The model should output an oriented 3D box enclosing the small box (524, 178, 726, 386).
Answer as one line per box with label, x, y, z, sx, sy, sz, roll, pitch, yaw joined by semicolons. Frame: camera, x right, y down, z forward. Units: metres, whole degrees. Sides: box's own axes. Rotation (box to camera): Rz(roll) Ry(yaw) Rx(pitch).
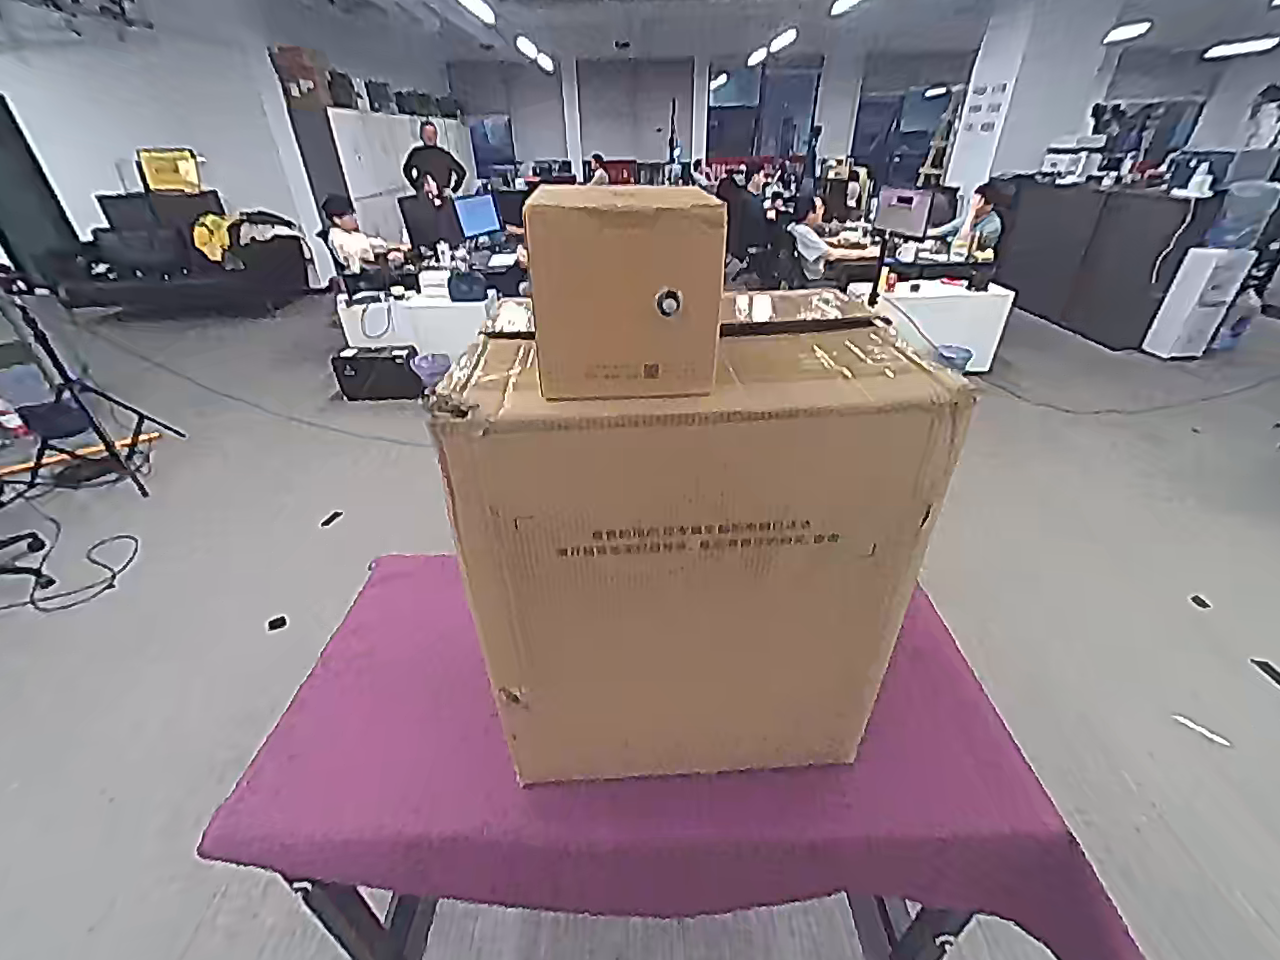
small box;-0.016;-0.200;0.539;0.168;0.176;0.179;-1;32;-4
